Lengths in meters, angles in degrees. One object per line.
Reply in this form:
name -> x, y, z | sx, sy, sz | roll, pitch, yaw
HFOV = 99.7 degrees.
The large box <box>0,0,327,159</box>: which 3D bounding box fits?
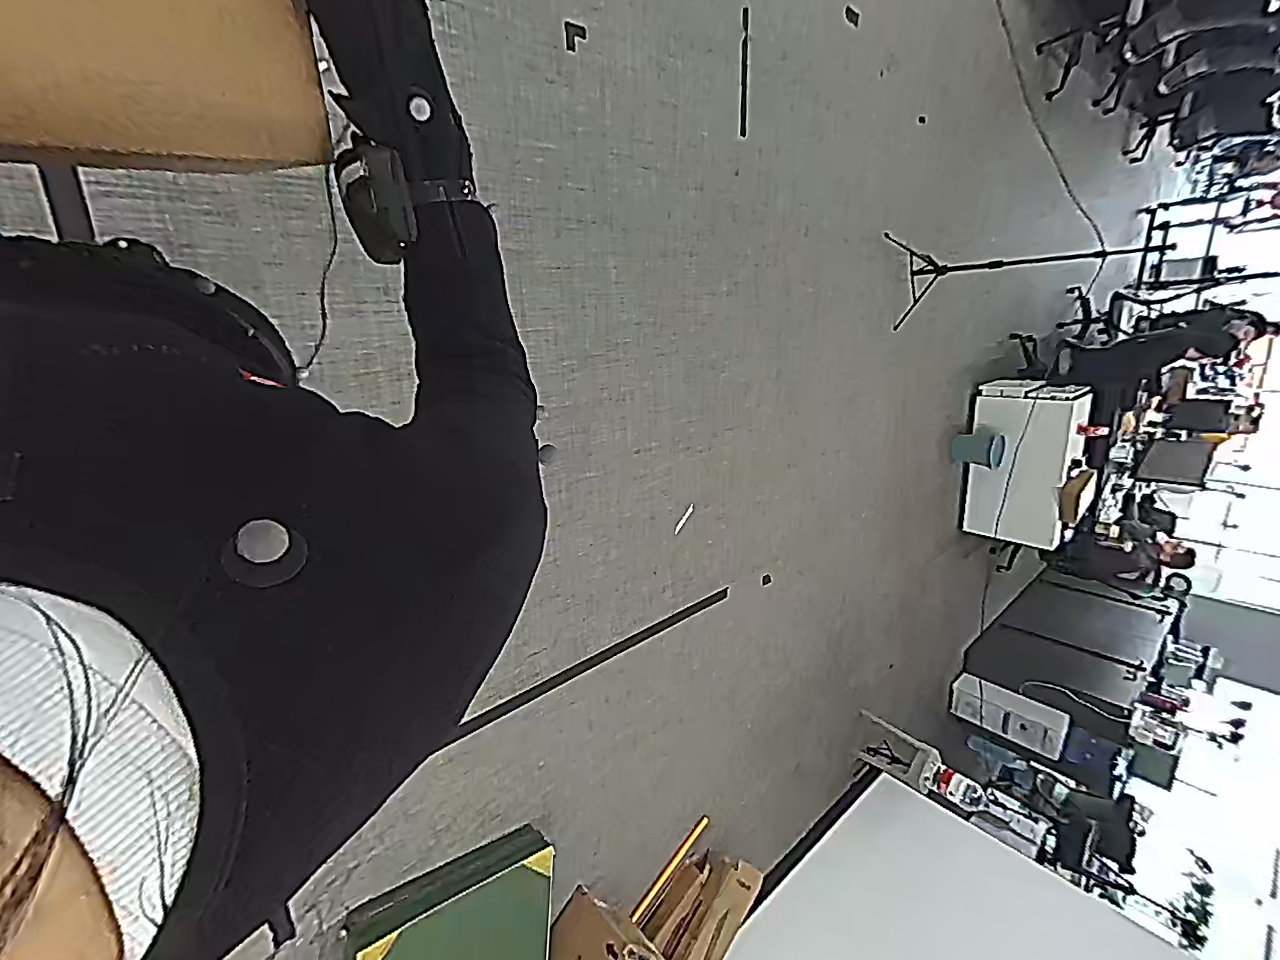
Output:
large box -> -0.458, -0.358, 0.279 | 0.408, 0.320, 0.320 | -22, 127, -38
